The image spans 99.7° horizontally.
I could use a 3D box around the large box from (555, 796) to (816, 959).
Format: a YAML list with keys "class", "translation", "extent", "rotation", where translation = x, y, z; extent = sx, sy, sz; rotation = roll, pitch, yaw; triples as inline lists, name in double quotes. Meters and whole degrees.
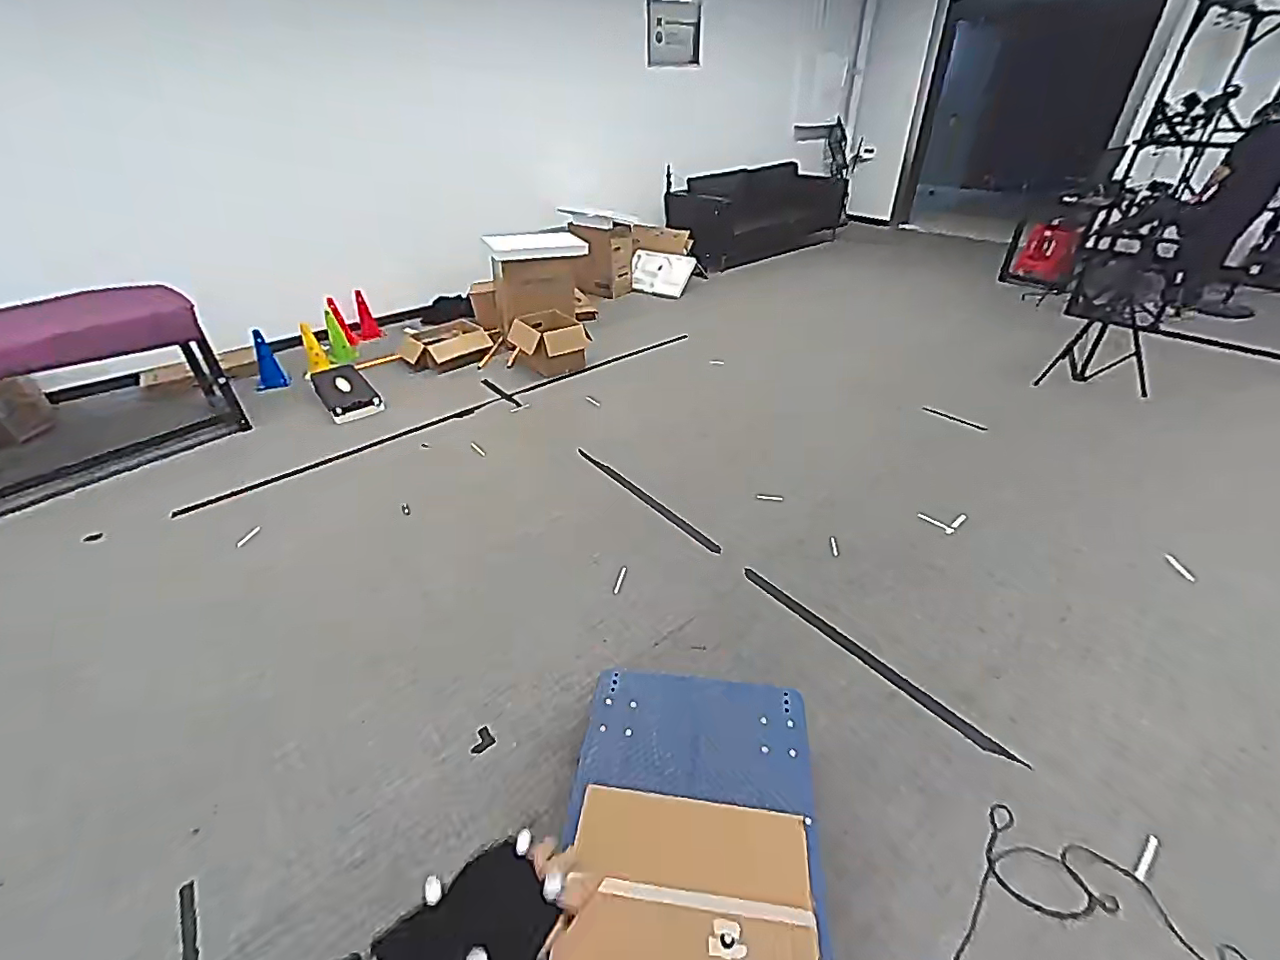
- class: "large box"
  translation: [0.075, 0.816, 0.960]
  extent: [0.408, 0.320, 0.320]
  rotation: [5, 37, 7]
